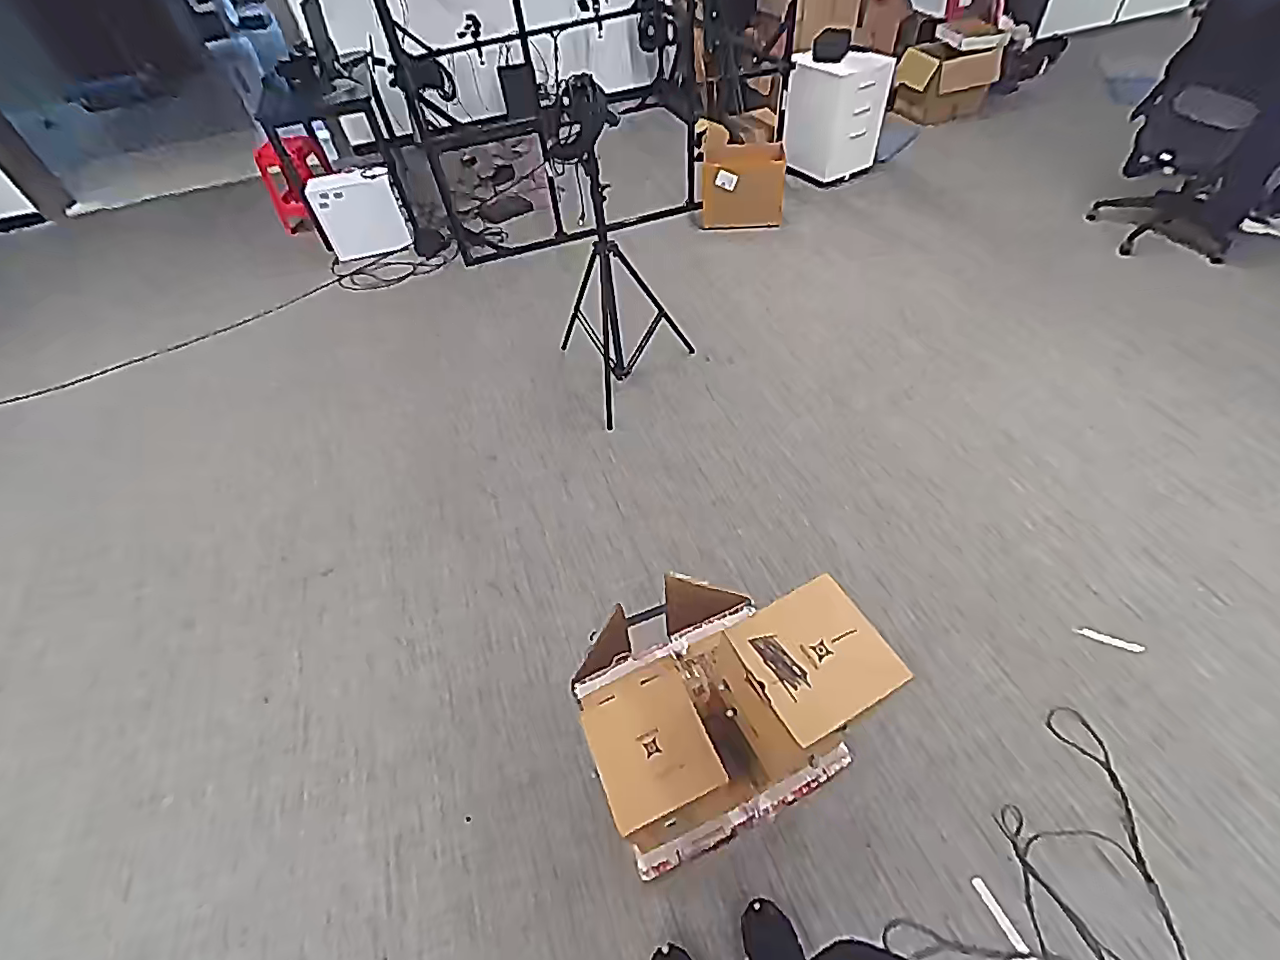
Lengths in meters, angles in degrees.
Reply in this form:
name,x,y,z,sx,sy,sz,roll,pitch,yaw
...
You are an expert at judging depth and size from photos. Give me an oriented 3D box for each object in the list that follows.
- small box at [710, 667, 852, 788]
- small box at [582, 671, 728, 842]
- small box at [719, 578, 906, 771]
name,x,y,z,sx,sy,sz,roll,pitch,yaw
small box,0.231,0.372,0.888,0.179,0.176,0.168,-24,55,-15
small box,0.022,0.438,0.852,0.168,0.176,0.179,-23,55,-10
small box,0.224,0.275,0.754,0.179,0.176,0.168,-24,55,-15
